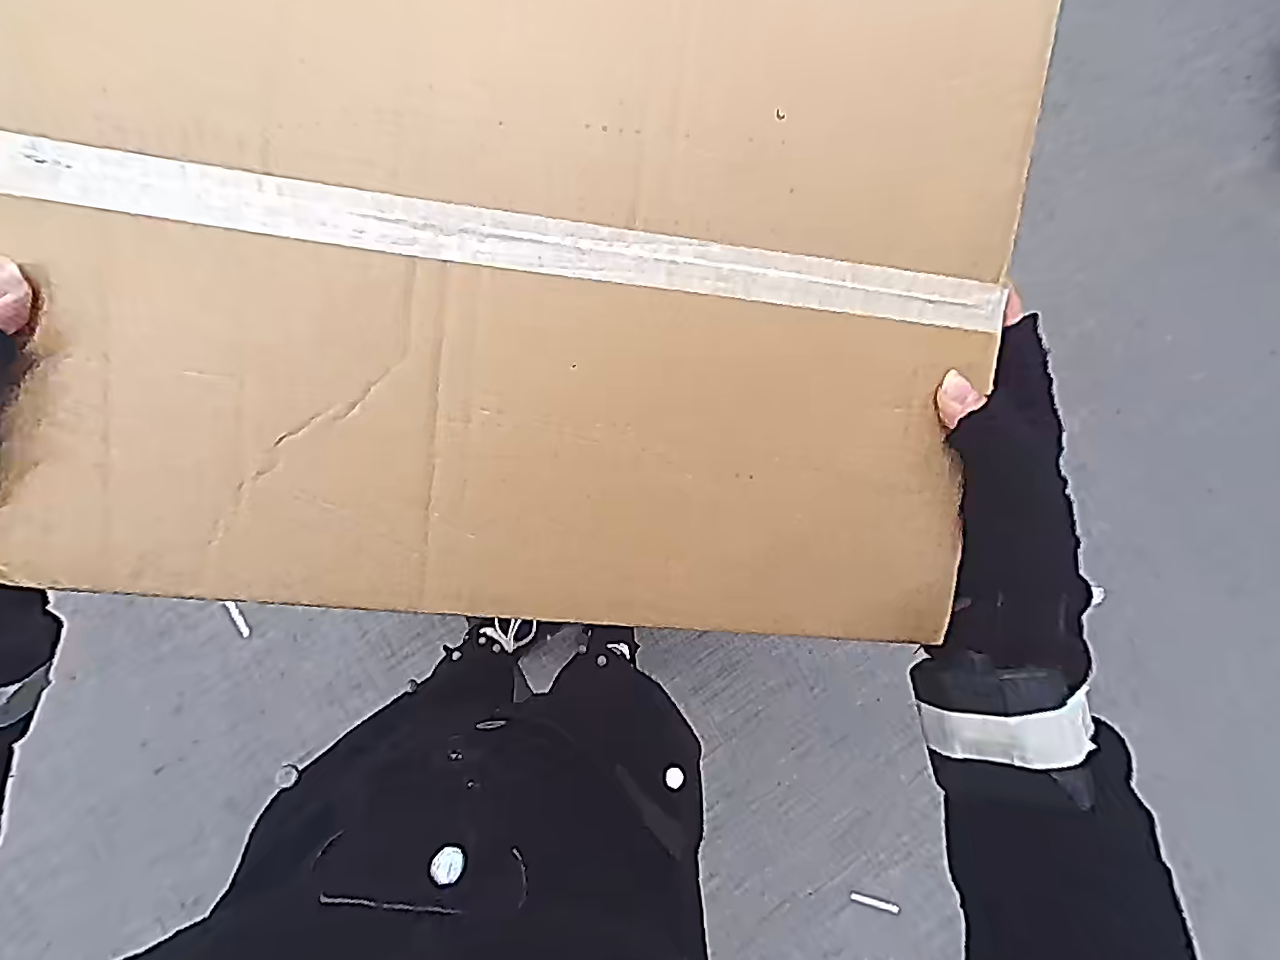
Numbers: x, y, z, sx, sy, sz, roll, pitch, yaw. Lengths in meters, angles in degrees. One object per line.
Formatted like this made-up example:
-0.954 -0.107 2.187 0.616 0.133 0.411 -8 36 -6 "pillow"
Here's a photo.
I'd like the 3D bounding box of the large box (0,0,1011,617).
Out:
-0.060 -0.116 0.378 0.408 0.320 0.320 5 96 -8 "large box"
